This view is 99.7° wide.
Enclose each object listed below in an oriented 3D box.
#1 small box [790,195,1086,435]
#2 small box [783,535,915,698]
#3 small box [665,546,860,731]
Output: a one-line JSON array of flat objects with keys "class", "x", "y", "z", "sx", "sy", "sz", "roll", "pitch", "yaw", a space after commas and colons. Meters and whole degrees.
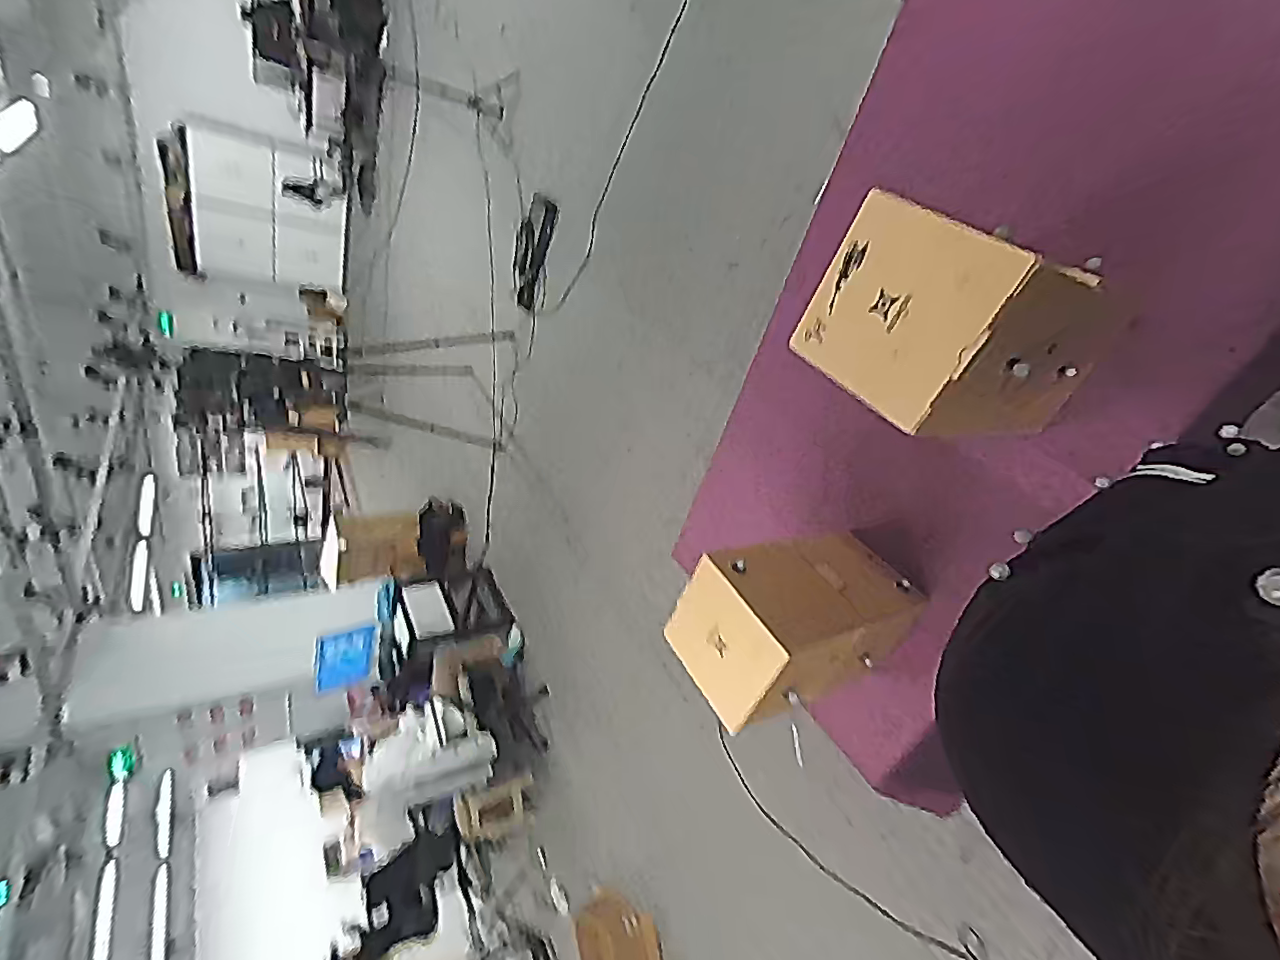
[{"class": "small box", "x": 0.300, "y": -0.163, "z": 0.557, "sx": 0.179, "sy": 0.176, "sz": 0.168, "roll": 52, "pitch": 132, "yaw": 37}, {"class": "small box", "x": 0.300, "y": 0.205, "z": 0.859, "sx": 0.168, "sy": 0.176, "sz": 0.179, "roll": 48, "pitch": 129, "yaw": 40}, {"class": "small box", "x": 0.170, "y": 0.209, "z": 0.762, "sx": 0.179, "sy": 0.176, "sz": 0.168, "roll": 50, "pitch": 130, "yaw": 40}]
